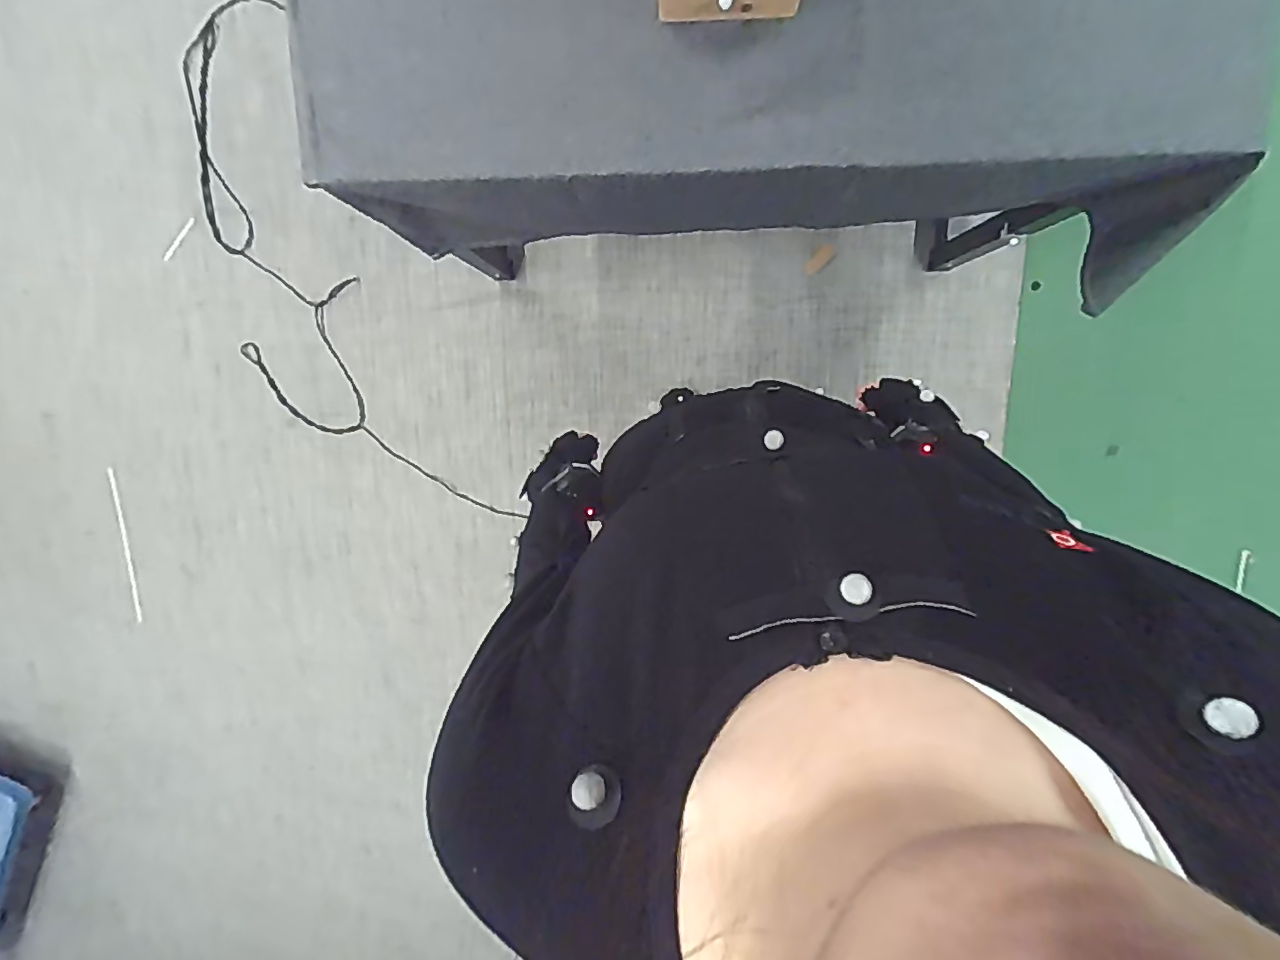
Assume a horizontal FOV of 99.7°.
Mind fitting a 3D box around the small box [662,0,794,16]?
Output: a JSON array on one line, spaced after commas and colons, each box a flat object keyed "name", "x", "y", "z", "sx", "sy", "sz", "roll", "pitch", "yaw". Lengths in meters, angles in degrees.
[{"name": "small box", "x": 0.100, "y": -0.638, "z": 0.563, "sx": 0.168, "sy": 0.176, "sz": 0.179, "roll": 1, "pitch": 100, "yaw": 3}]
